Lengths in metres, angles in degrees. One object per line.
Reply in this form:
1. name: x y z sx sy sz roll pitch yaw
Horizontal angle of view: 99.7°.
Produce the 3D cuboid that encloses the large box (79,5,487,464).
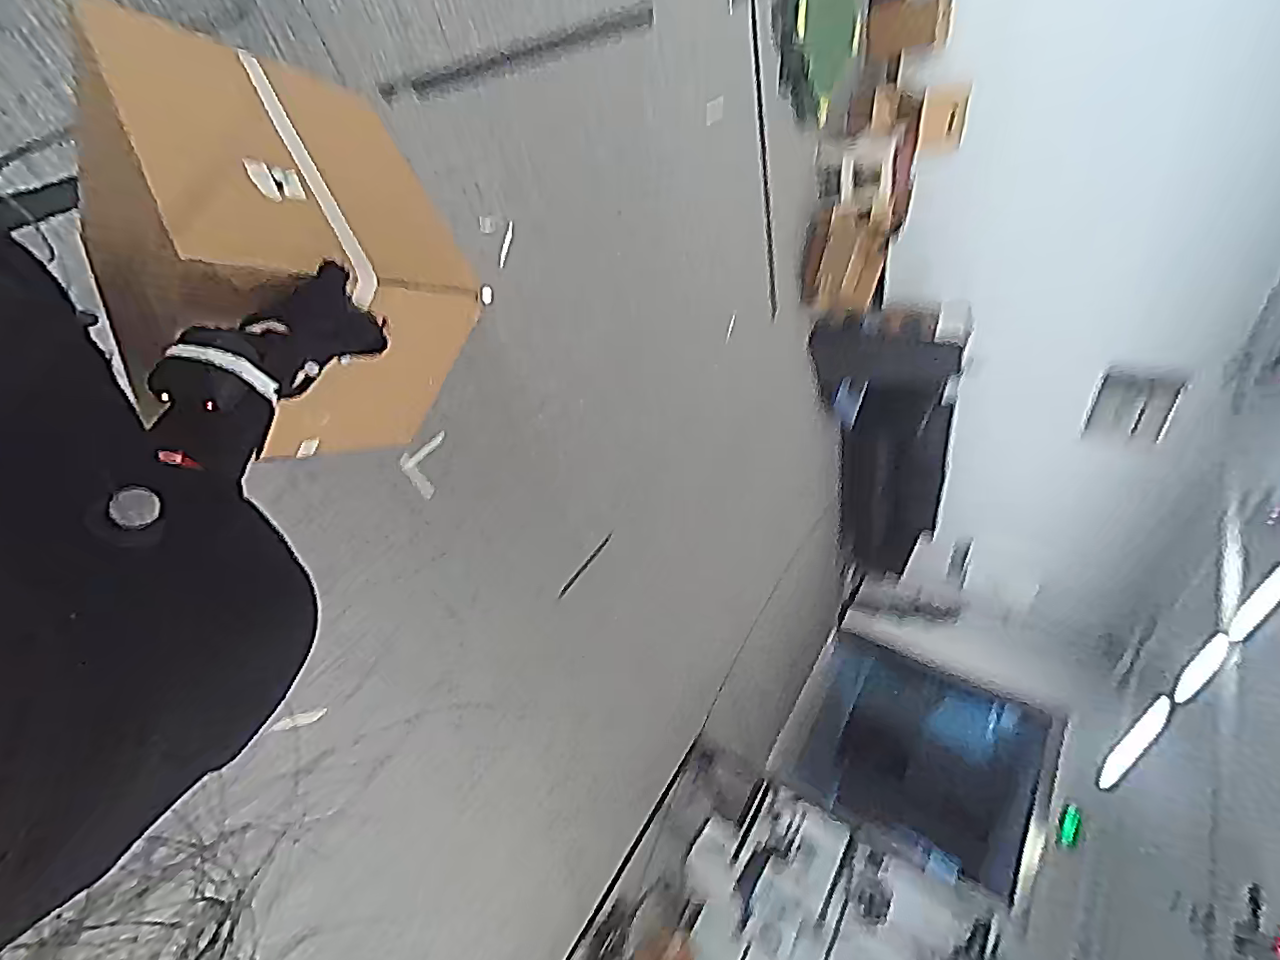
1. large box: -0.482 -0.282 0.723 0.320 0.408 0.320 -14 156 -49
